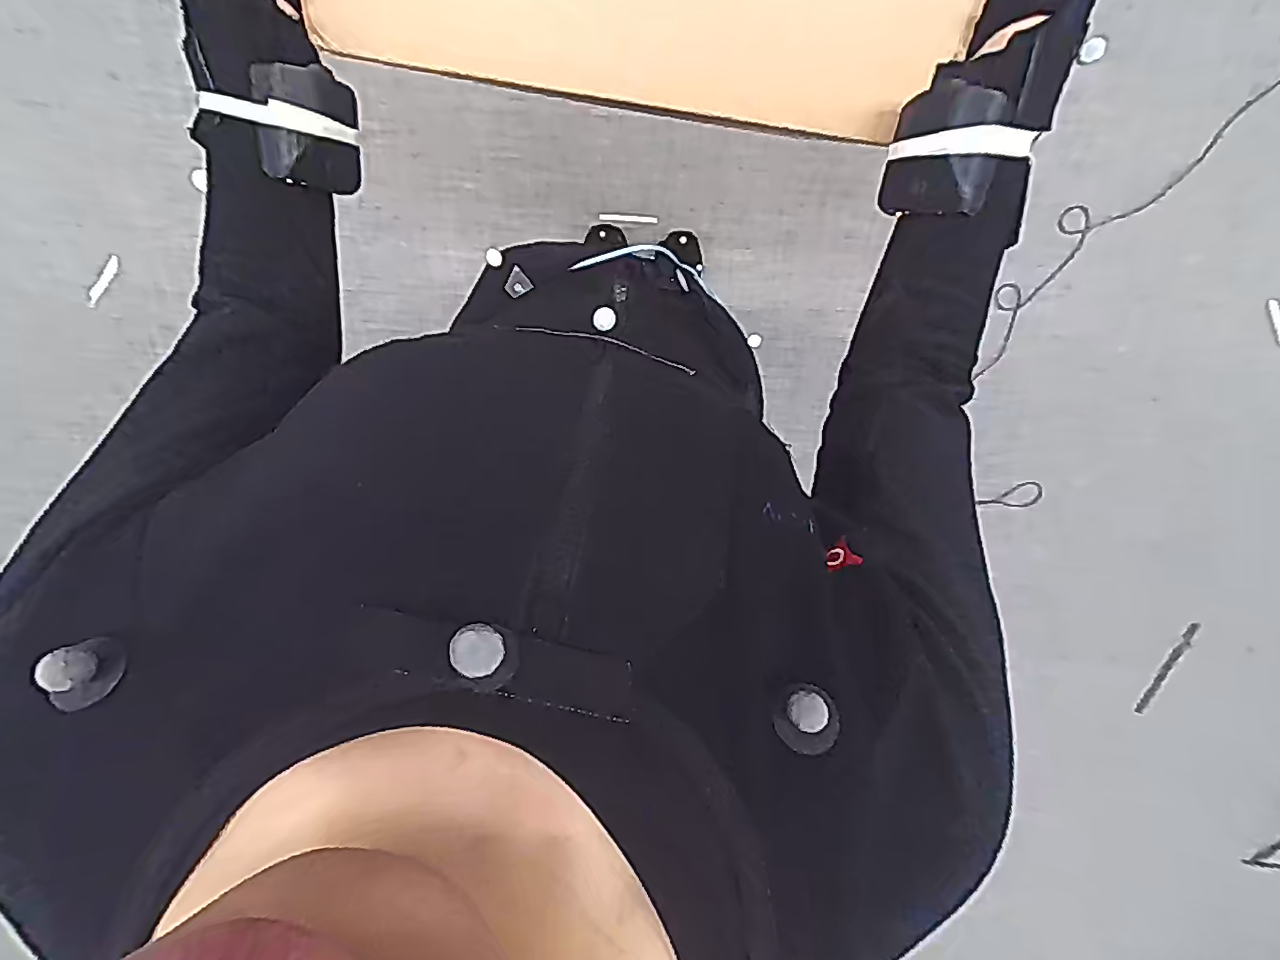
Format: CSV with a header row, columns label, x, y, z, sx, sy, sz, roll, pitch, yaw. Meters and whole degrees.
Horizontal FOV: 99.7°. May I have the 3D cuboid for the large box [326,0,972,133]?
label,x,y,z,sx,sy,sz,roll,pitch,yaw
large box,0.020,-0.465,0.397,0.408,0.320,0.320,8,125,-2
